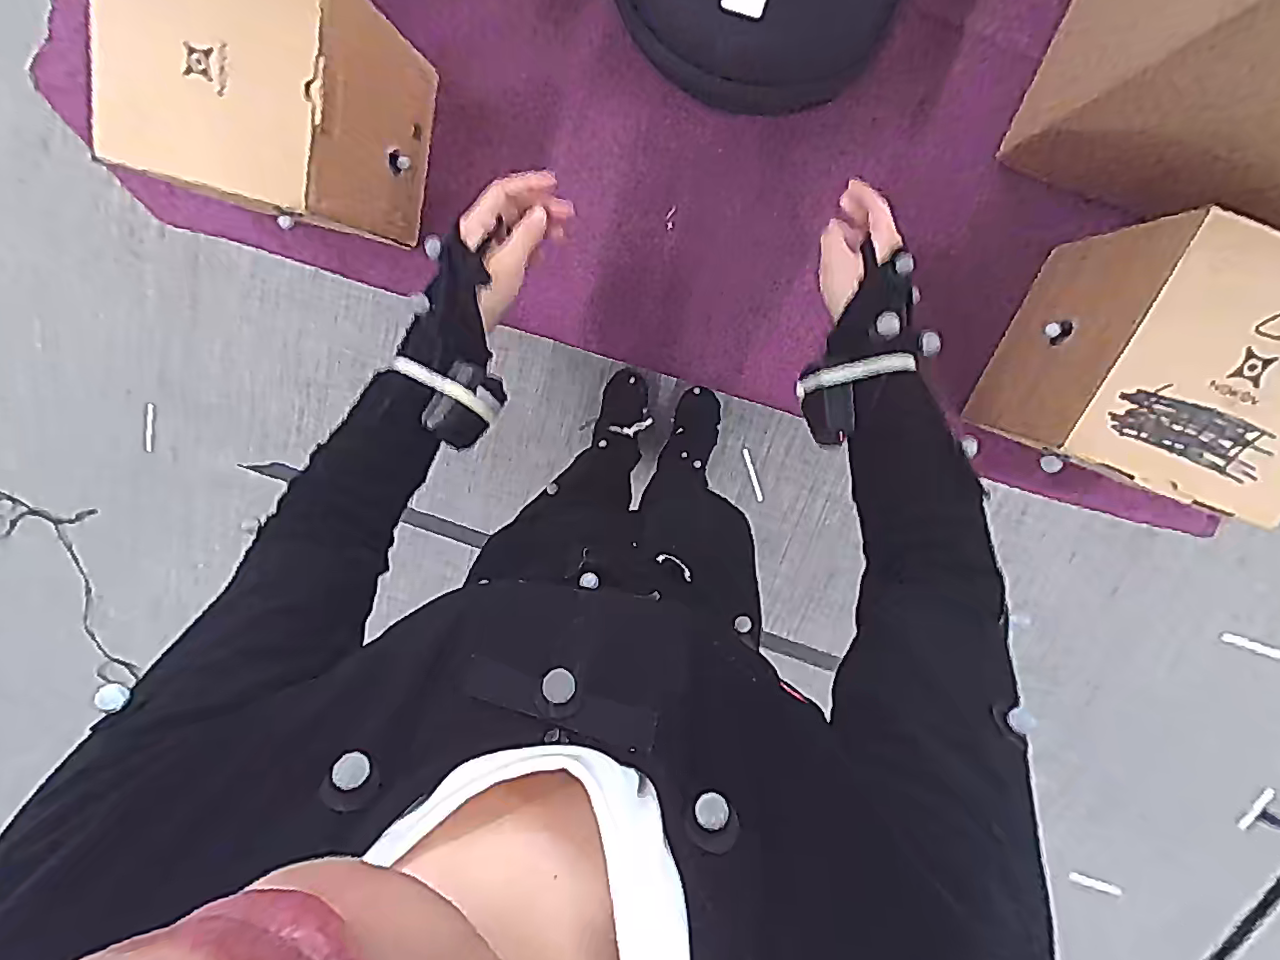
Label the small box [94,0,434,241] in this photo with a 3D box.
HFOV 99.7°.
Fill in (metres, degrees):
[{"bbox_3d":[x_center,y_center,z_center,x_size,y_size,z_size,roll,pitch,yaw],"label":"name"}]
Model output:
[{"bbox_3d":[-0.310,-0.324,0.472,0.179,0.176,0.168,14,105,1],"label":"small box"}]
